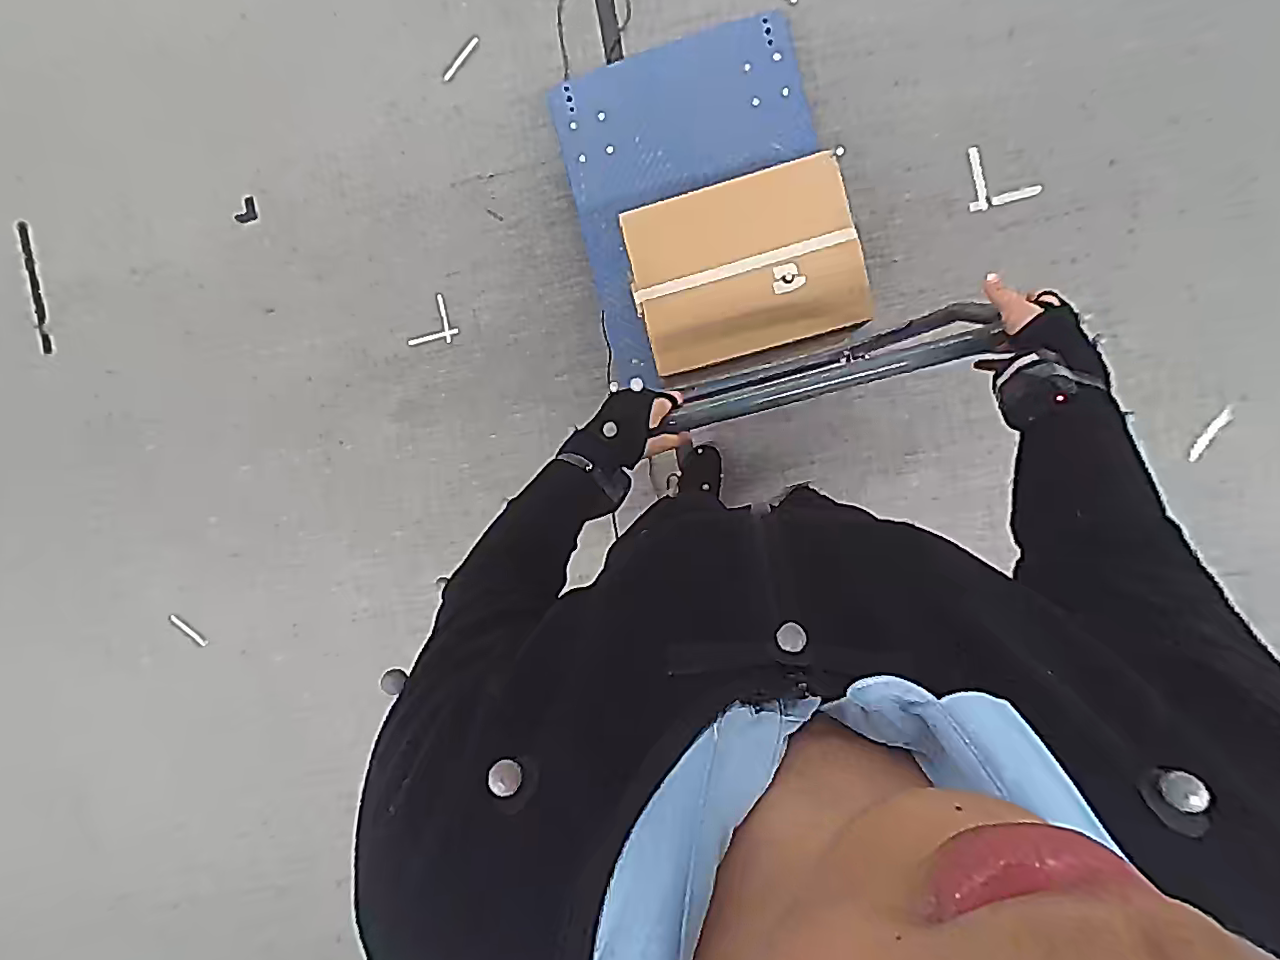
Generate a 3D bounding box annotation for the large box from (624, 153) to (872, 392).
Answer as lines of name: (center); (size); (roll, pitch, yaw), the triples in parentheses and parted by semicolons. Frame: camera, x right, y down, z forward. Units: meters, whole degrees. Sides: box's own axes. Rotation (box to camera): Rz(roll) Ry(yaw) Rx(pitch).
large box: (0.207, -0.401, 1.146); (0.408, 0.320, 0.320); (-14, 93, 5)
